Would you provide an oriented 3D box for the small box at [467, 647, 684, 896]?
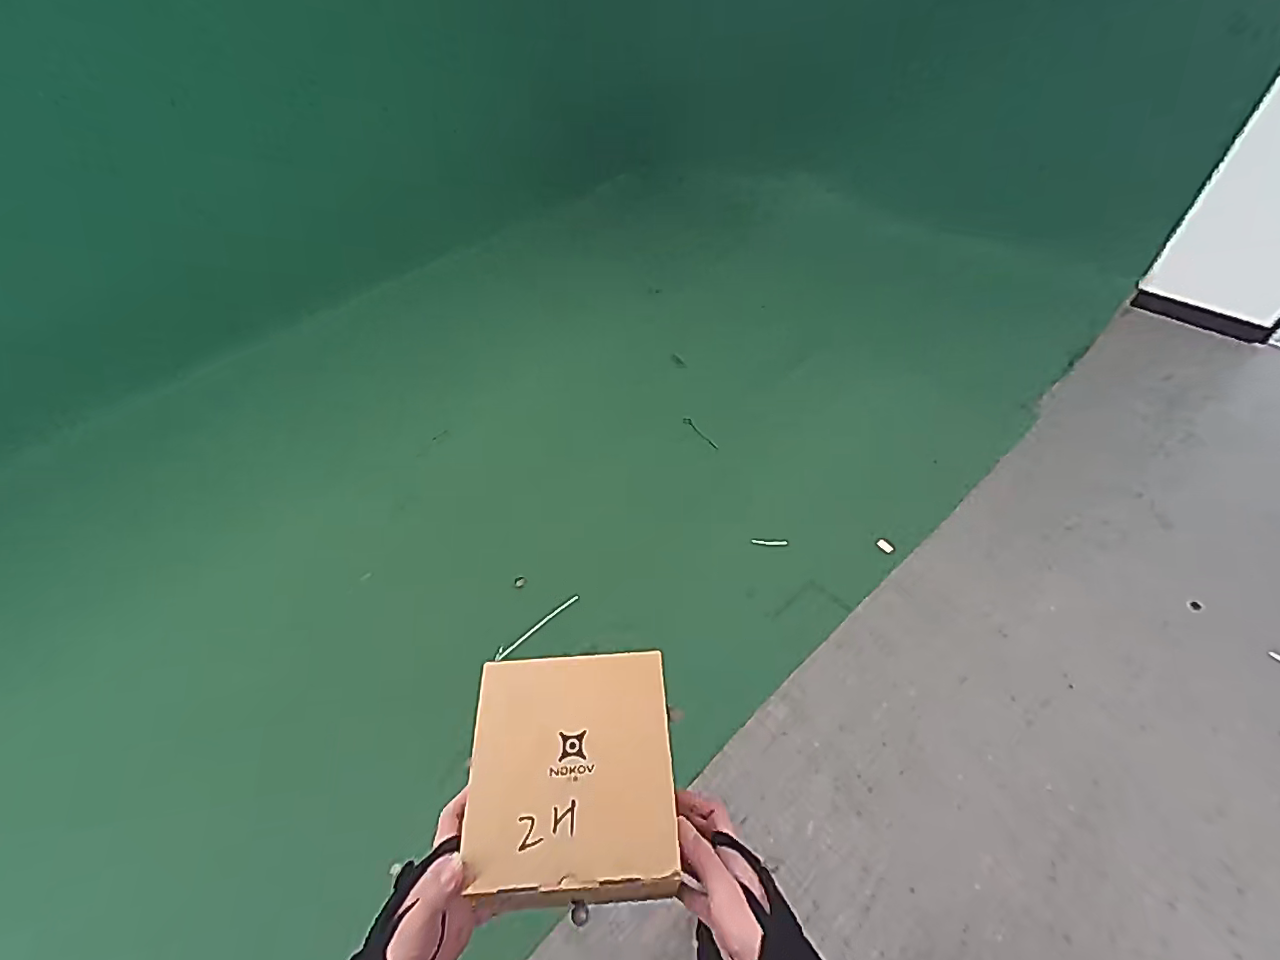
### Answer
[{"bbox_3d":[-0.051,0.278,0.516,0.168,0.176,0.179,-3,50,-2],"label":"small box"}]
